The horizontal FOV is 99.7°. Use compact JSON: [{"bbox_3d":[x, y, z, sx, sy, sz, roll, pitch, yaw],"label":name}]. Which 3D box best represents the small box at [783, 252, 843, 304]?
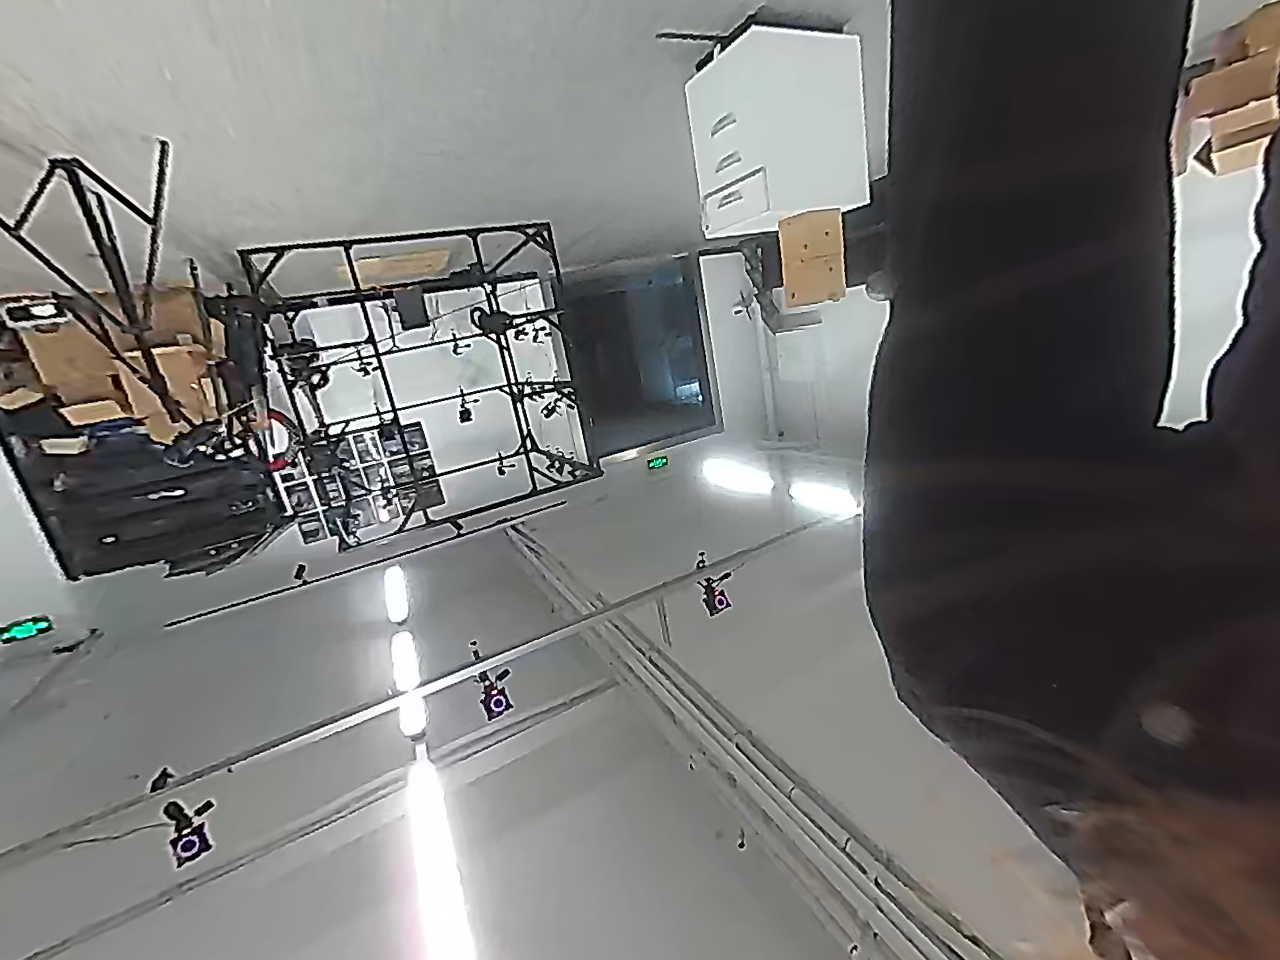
[{"bbox_3d":[0.692,-0.814,2.177,0.168,0.176,0.179,-21,-161,-27],"label":"small box"}]
